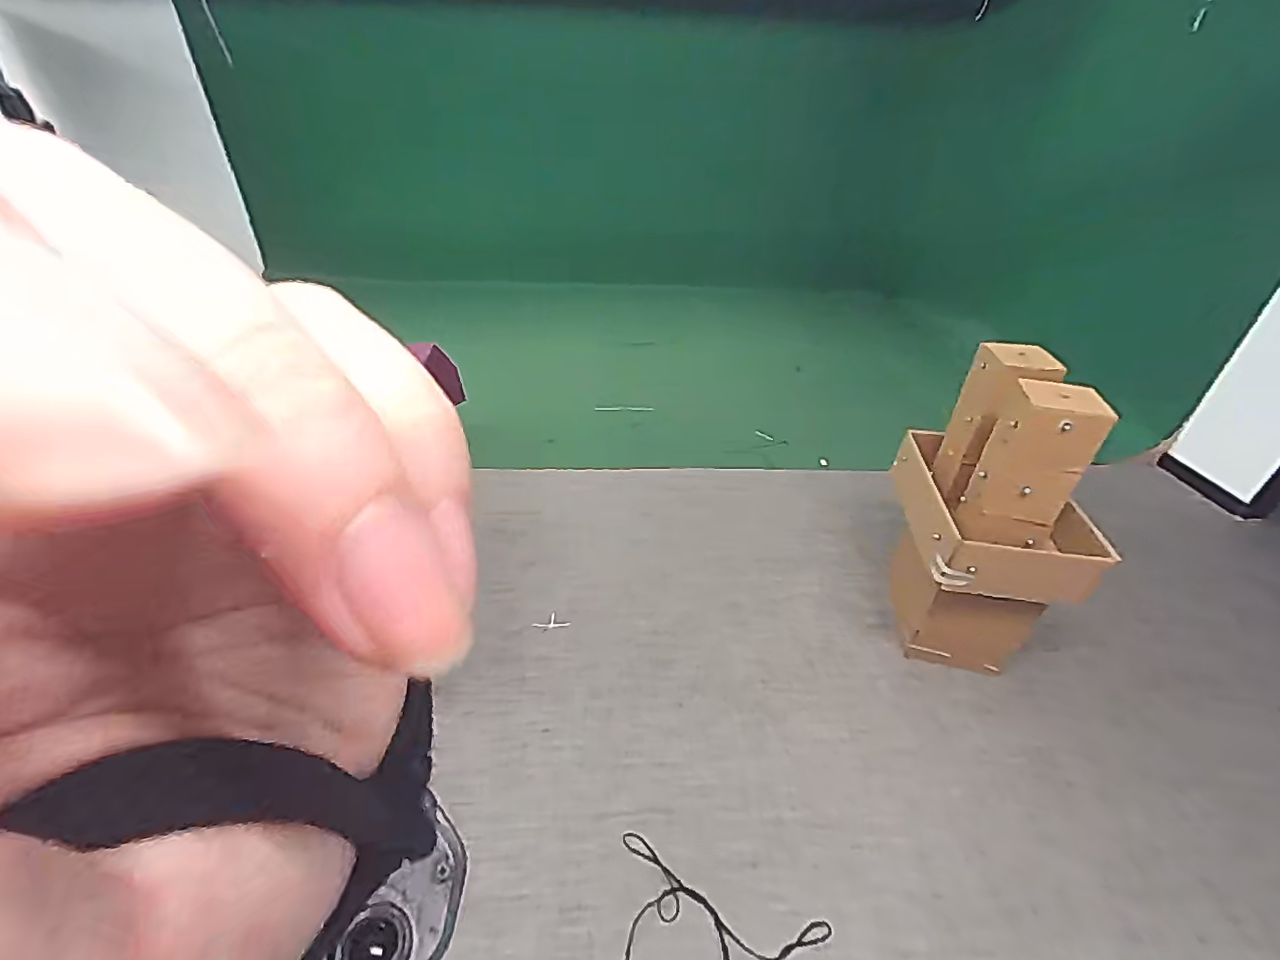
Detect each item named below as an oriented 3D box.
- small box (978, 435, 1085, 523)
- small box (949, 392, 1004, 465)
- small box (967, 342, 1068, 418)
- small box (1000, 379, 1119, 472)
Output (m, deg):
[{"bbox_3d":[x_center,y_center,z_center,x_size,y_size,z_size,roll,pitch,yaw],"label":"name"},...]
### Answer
[{"bbox_3d":[1.045,-0.003,1.467,0.179,0.176,0.168,9,36,13],"label":"small box"},{"bbox_3d":[1.103,-0.159,1.695,0.168,0.176,0.179,5,37,7],"label":"small box"},{"bbox_3d":[1.102,-0.292,1.598,0.168,0.176,0.179,5,37,6],"label":"small box"},{"bbox_3d":[1.047,-0.138,1.374,0.179,0.176,0.168,11,37,13],"label":"small box"}]
